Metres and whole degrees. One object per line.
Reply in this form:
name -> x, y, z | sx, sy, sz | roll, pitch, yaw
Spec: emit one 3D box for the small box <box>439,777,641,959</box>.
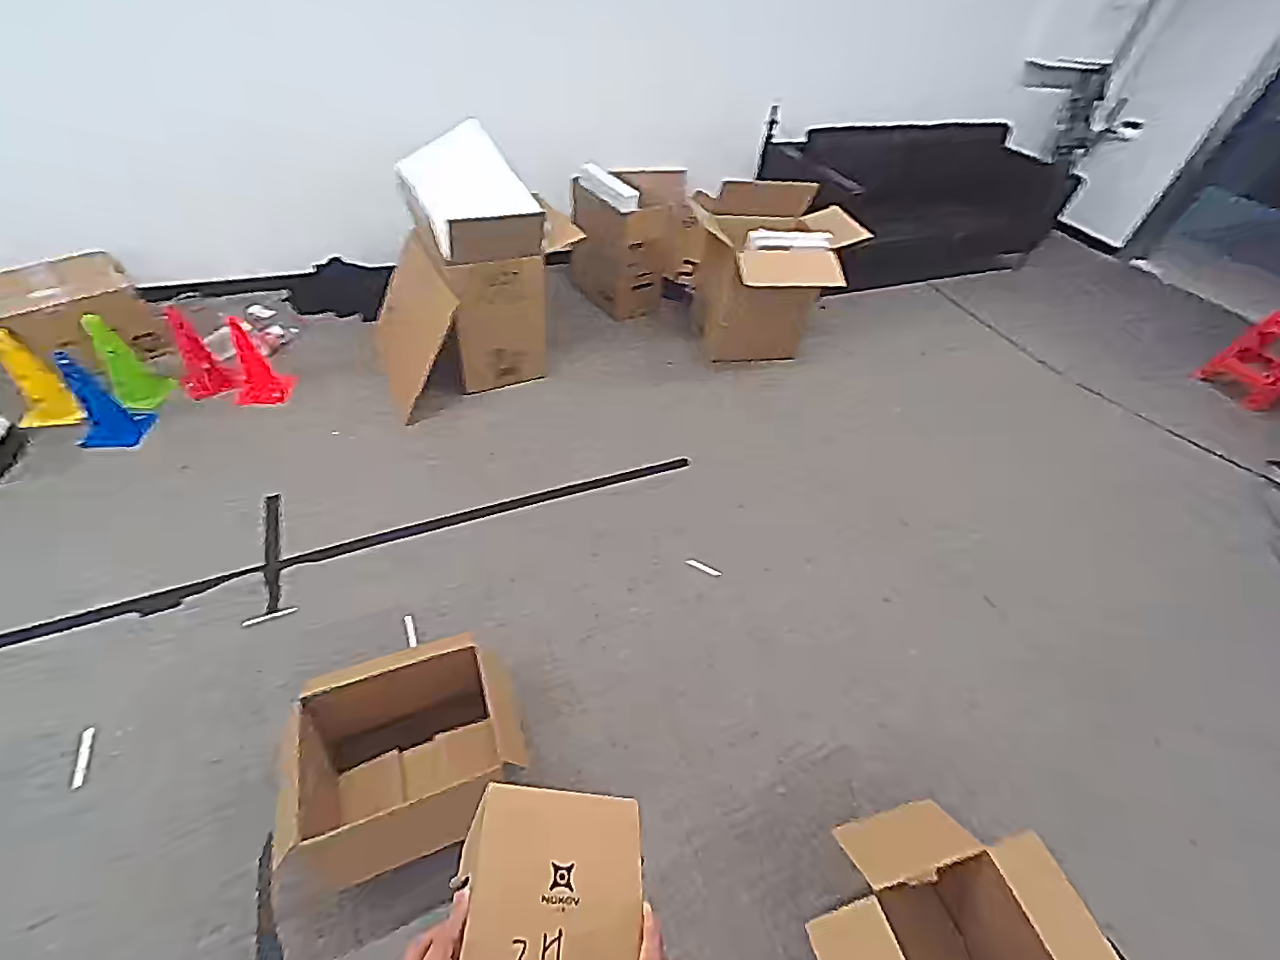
small box -> -0.105, 0.437, 0.549 | 0.168, 0.176, 0.179 | 13, 34, -14
